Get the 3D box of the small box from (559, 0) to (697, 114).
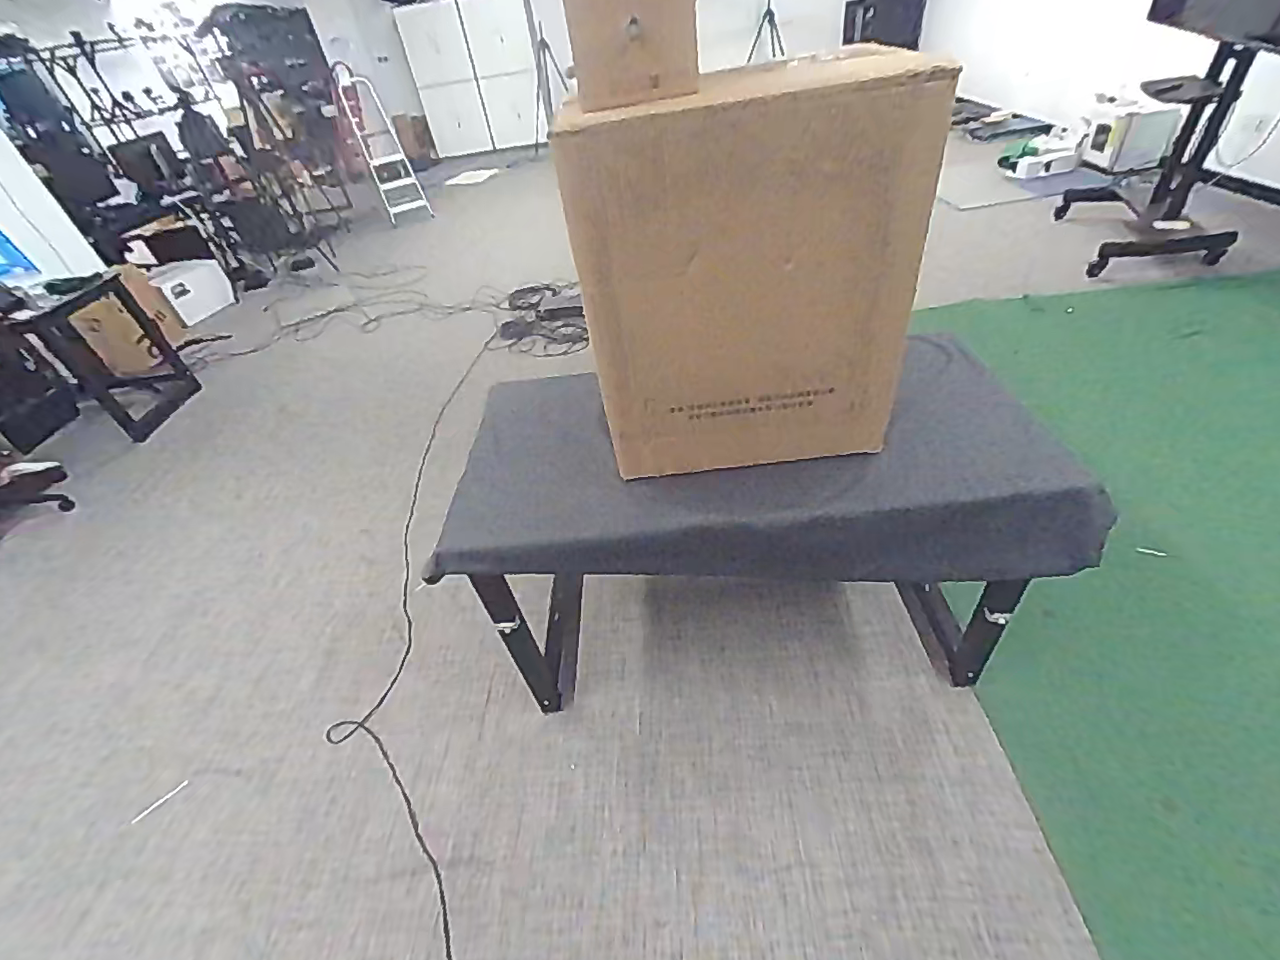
[{"bbox_3d":[-0.018,-0.627,0.745,0.168,0.176,0.179,-9,44,3],"label":"small box"}]
